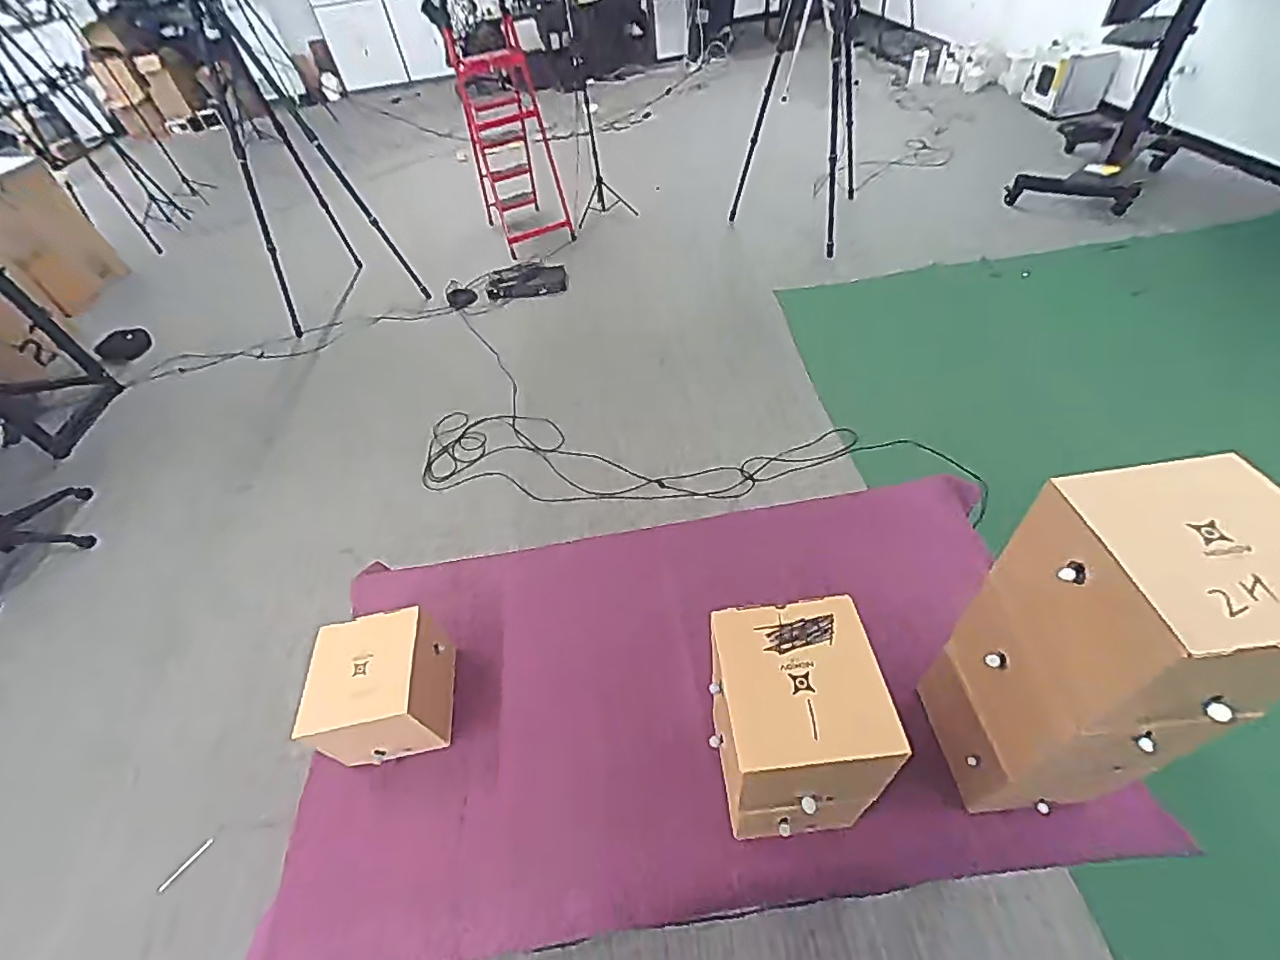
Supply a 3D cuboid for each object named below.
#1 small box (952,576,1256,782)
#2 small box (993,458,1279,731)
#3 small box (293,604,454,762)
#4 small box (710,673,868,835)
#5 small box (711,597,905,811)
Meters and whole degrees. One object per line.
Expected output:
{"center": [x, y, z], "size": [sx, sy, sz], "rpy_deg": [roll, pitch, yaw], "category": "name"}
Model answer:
{"center": [0.489, 0.219, 0.613], "size": [0.168, 0.176, 0.179], "rpy_deg": [-8, 47, 4], "category": "small box"}
{"center": [0.467, 0.106, 0.494], "size": [0.168, 0.176, 0.179], "rpy_deg": [-8, 48, 3], "category": "small box"}
{"center": [-0.414, 0.331, 0.878], "size": [0.168, 0.176, 0.179], "rpy_deg": [-11, 49, -1], "category": "small box"}
{"center": [0.193, 0.374, 0.747], "size": [0.168, 0.176, 0.179], "rpy_deg": [-8, 46, 2], "category": "small box"}
{"center": [0.175, 0.261, 0.629], "size": [0.168, 0.176, 0.179], "rpy_deg": [-8, 47, 3], "category": "small box"}
